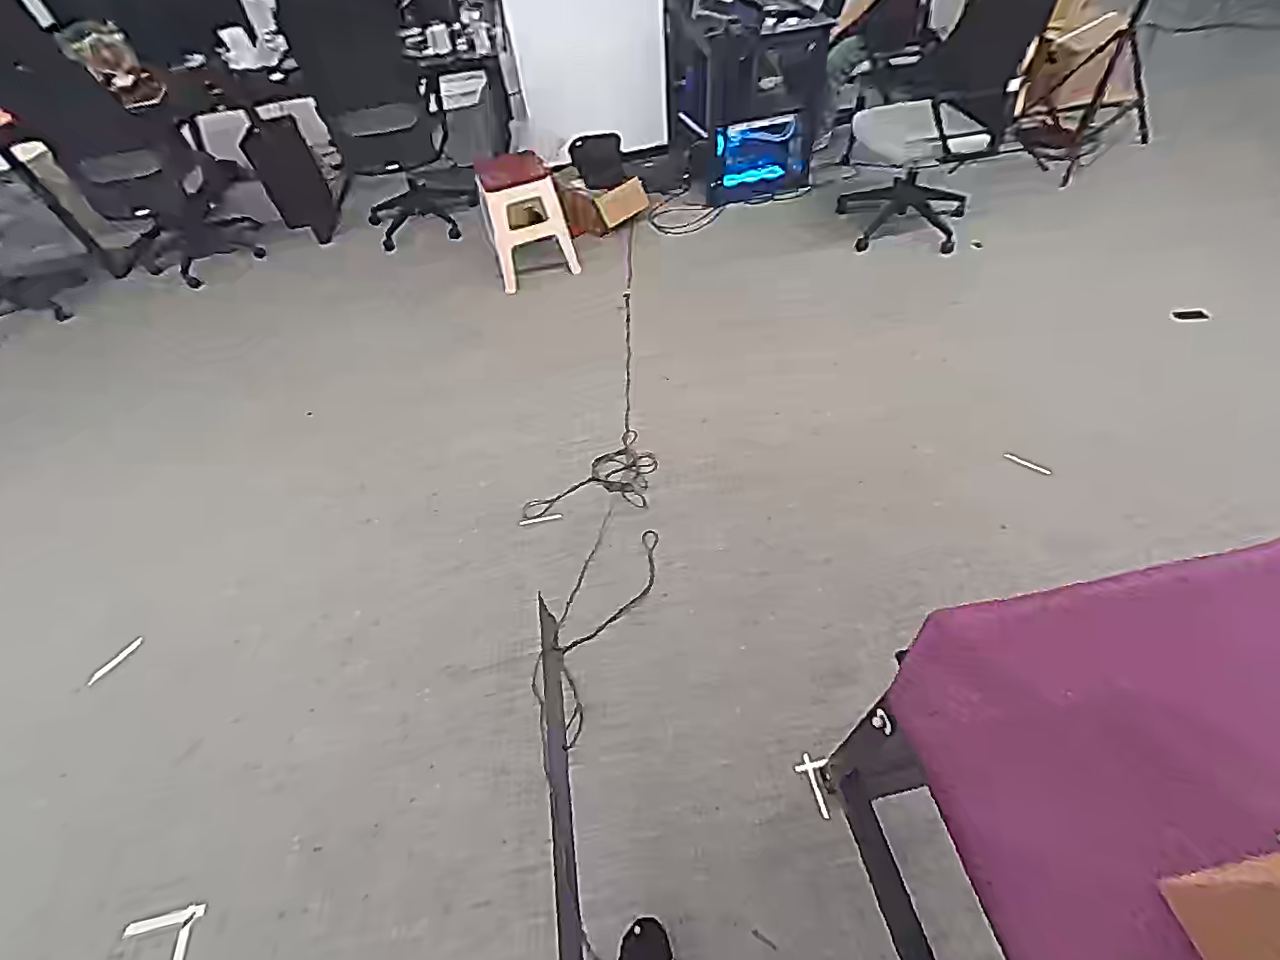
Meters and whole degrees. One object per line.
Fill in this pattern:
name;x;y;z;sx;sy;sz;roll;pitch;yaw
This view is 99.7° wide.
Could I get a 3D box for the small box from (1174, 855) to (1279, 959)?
small box;0.627;0.417;0.448;0.168;0.176;0.179;-12;53;-2
